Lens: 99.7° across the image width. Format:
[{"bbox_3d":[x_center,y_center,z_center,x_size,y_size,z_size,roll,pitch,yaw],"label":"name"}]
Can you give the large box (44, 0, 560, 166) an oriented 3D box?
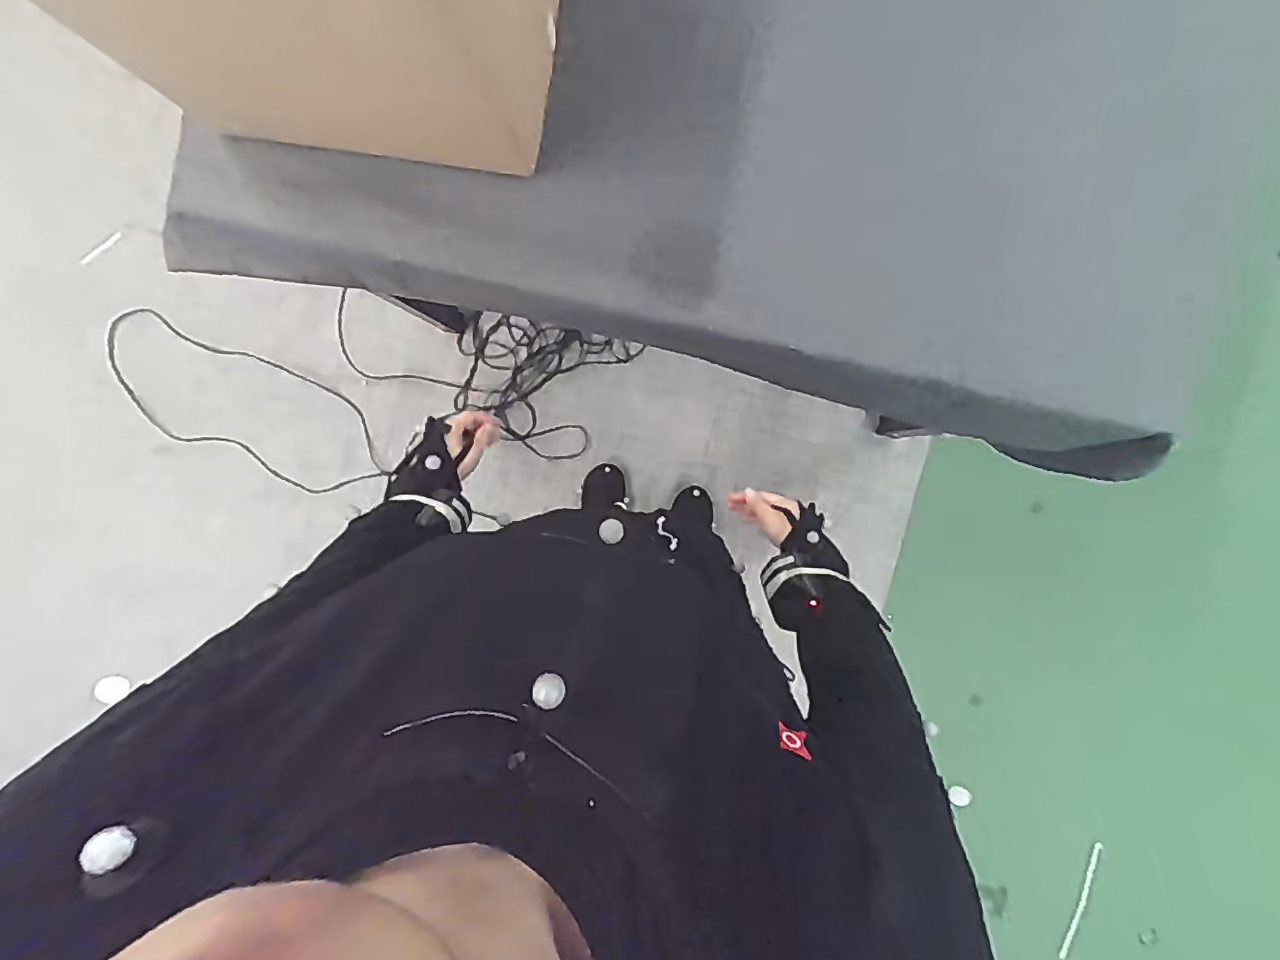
[{"bbox_3d":[-0.299,-0.535,0.487,0.408,0.320,0.320,9,93,1],"label":"large box"}]
